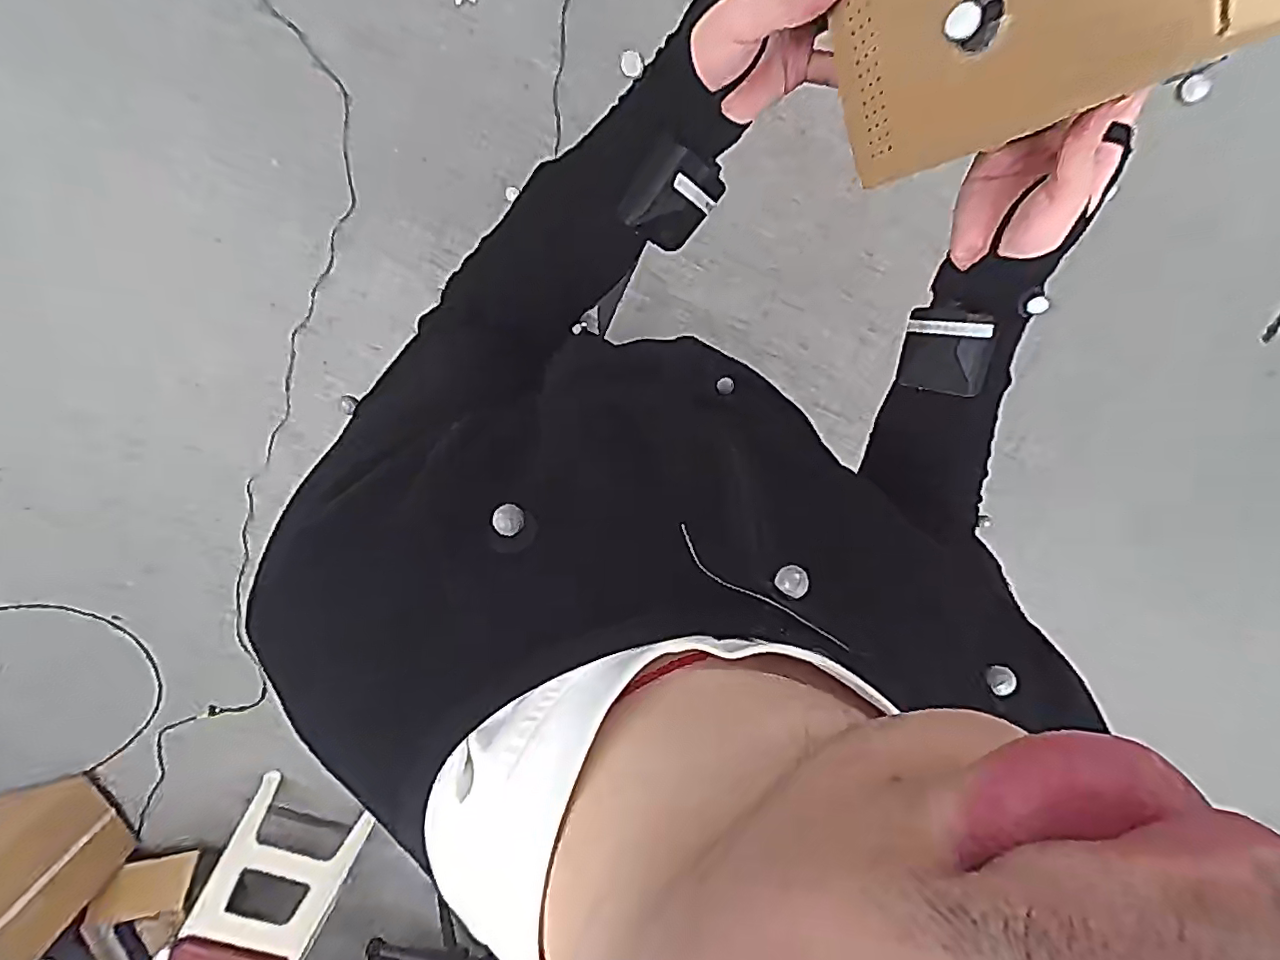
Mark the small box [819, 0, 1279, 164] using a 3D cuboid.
[{"bbox_3d":[0.192,-0.263,0.232,0.168,0.176,0.179,-24,108,-11],"label":"small box"}]
